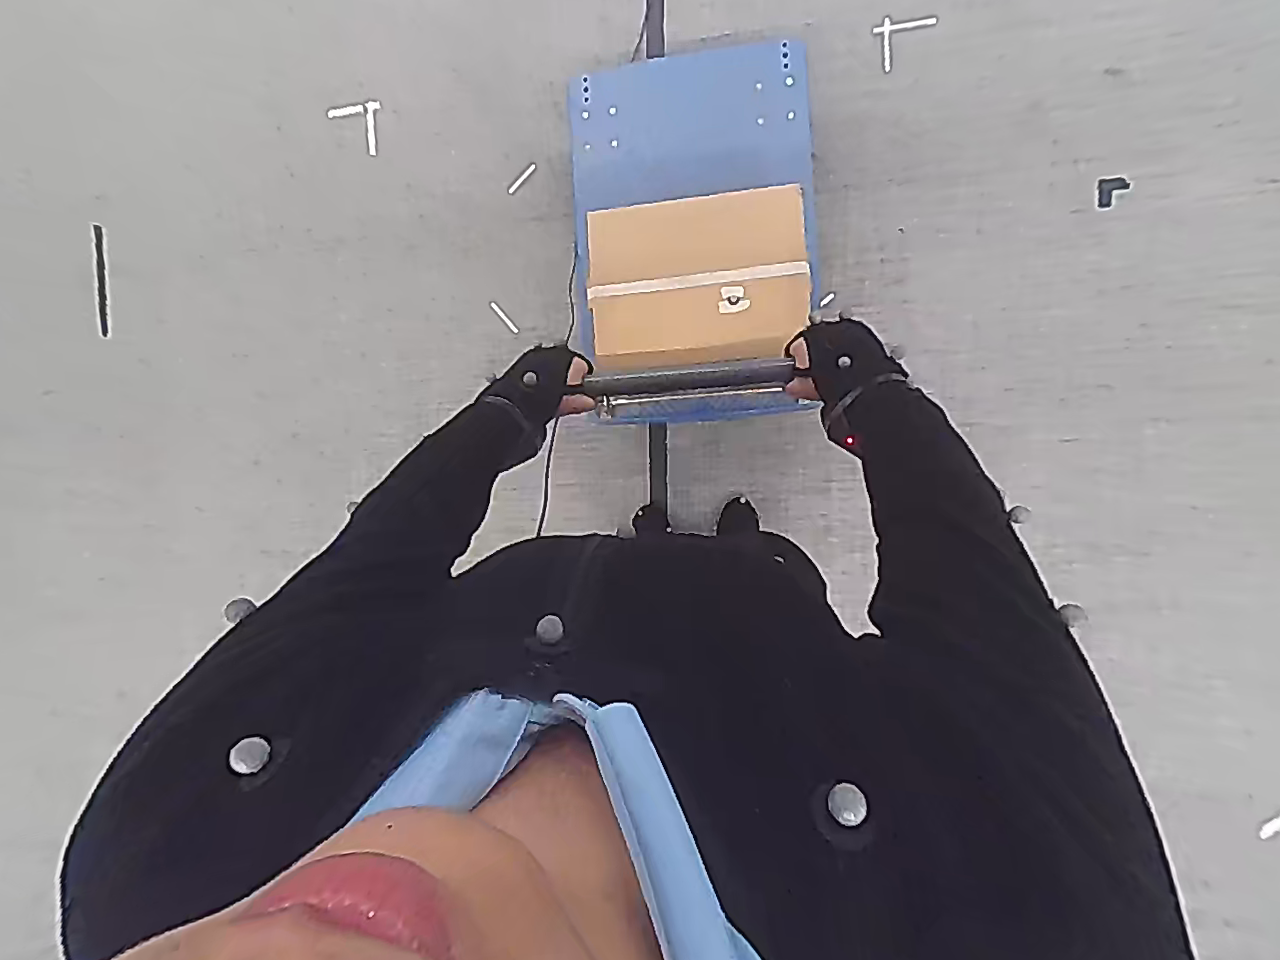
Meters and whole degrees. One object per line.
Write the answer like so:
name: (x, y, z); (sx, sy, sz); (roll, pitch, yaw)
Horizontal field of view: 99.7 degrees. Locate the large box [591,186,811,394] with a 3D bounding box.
large box: (0.130, -0.378, 1.174); (0.408, 0.320, 0.320); (-4, 91, 8)
